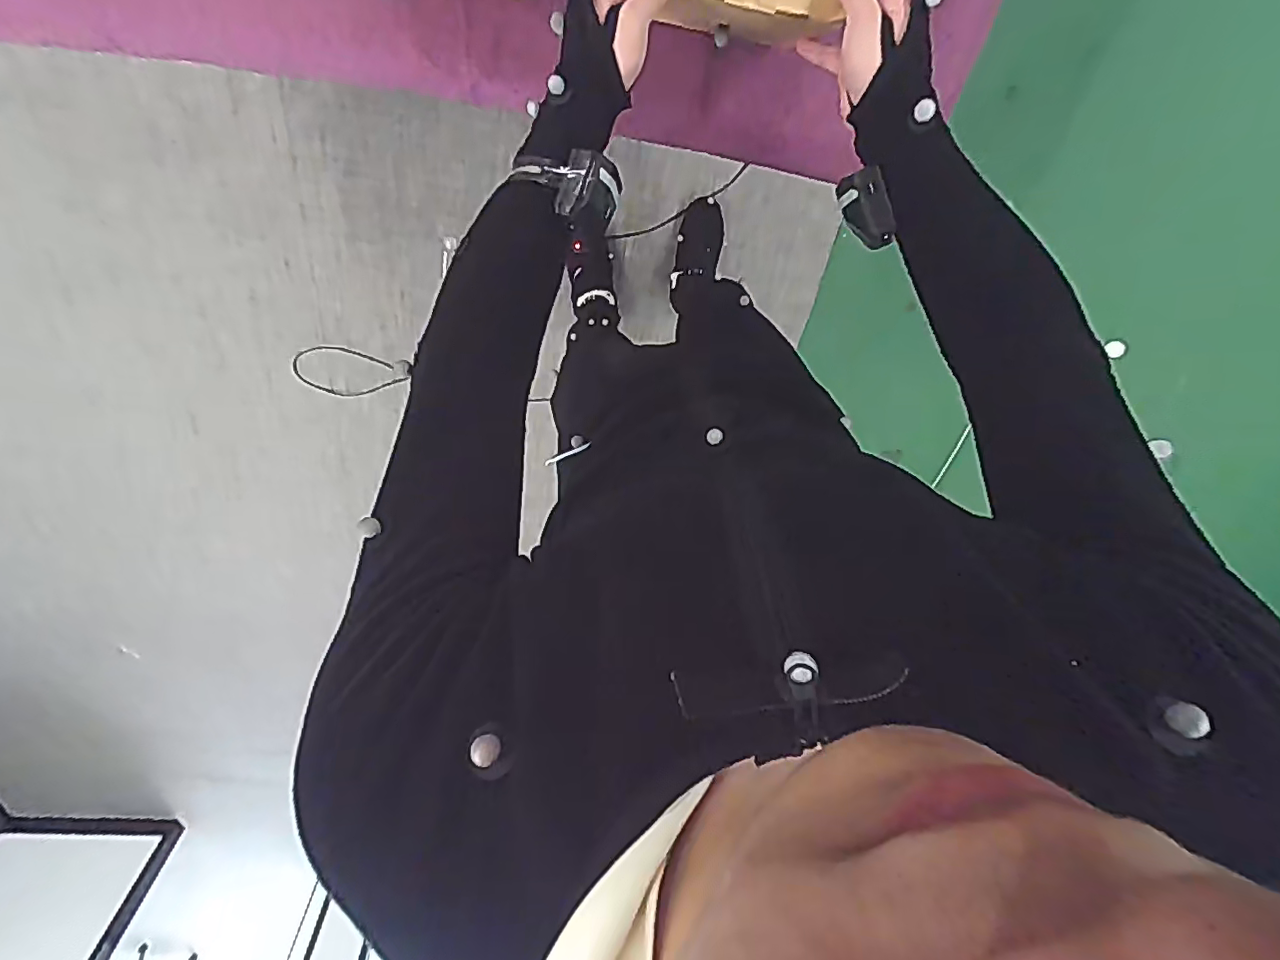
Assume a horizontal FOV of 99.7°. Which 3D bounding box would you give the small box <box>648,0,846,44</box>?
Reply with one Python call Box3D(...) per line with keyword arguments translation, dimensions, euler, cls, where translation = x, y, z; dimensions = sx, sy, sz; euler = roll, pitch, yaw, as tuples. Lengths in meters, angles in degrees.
Box3D(translation=(0.098, -0.506, 0.462), dimensions=(0.168, 0.176, 0.179), euler=(7, 124, -7), cls="small box")
